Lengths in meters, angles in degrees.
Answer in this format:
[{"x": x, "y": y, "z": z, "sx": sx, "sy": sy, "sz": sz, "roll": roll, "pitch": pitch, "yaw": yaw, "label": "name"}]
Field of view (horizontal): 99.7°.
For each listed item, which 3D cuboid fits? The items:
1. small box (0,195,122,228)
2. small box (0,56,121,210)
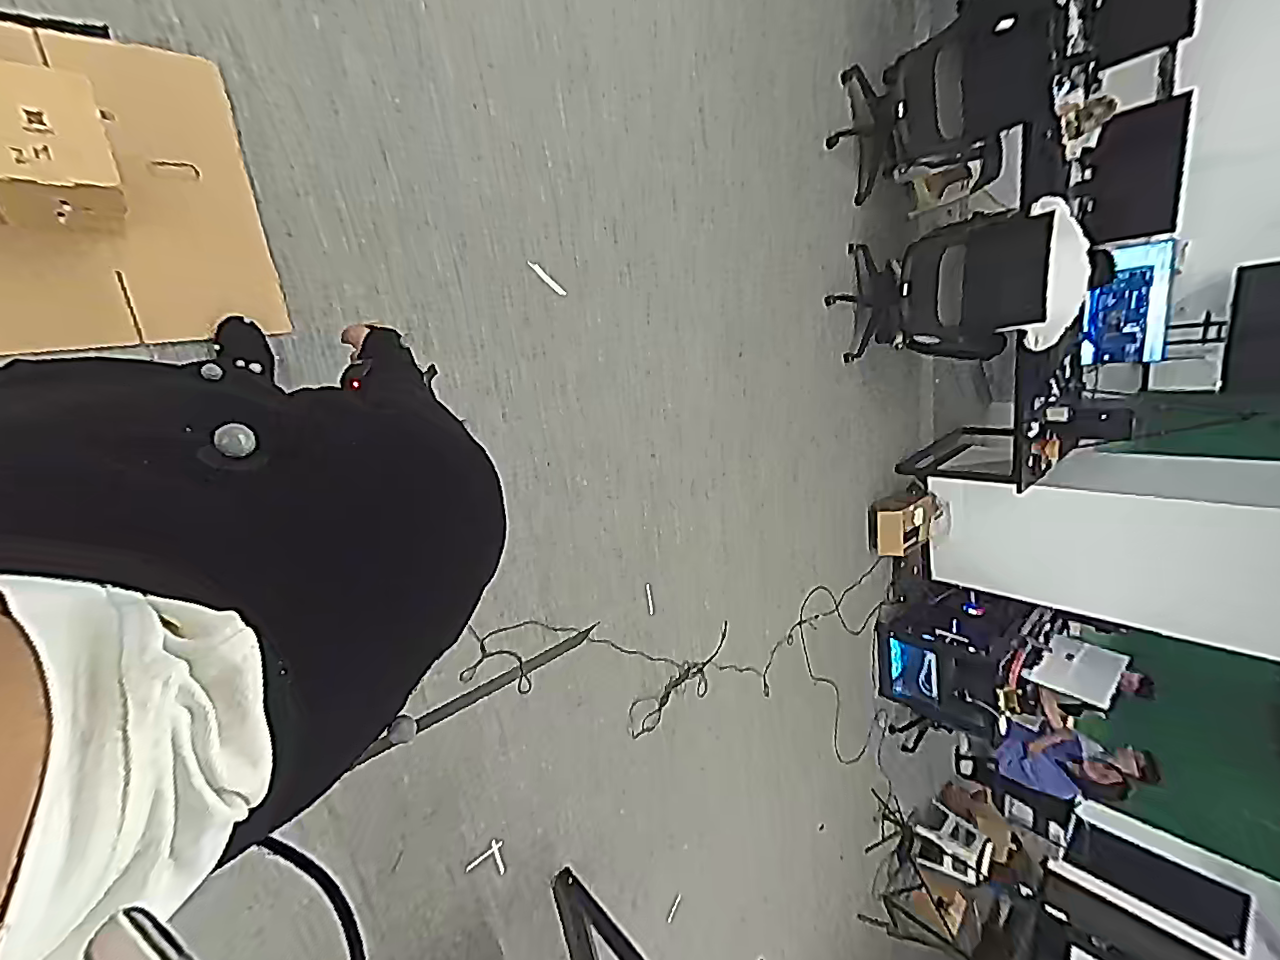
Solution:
[{"x": -1.133, "y": -0.593, "z": 1.036, "sx": 0.179, "sy": 0.176, "sz": 0.168, "roll": -17, "pitch": 107, "yaw": -38, "label": "small box"}, {"x": -1.019, "y": -0.580, "z": 0.917, "sx": 0.168, "sy": 0.176, "sz": 0.179, "roll": -17, "pitch": 107, "yaw": -38, "label": "small box"}]
